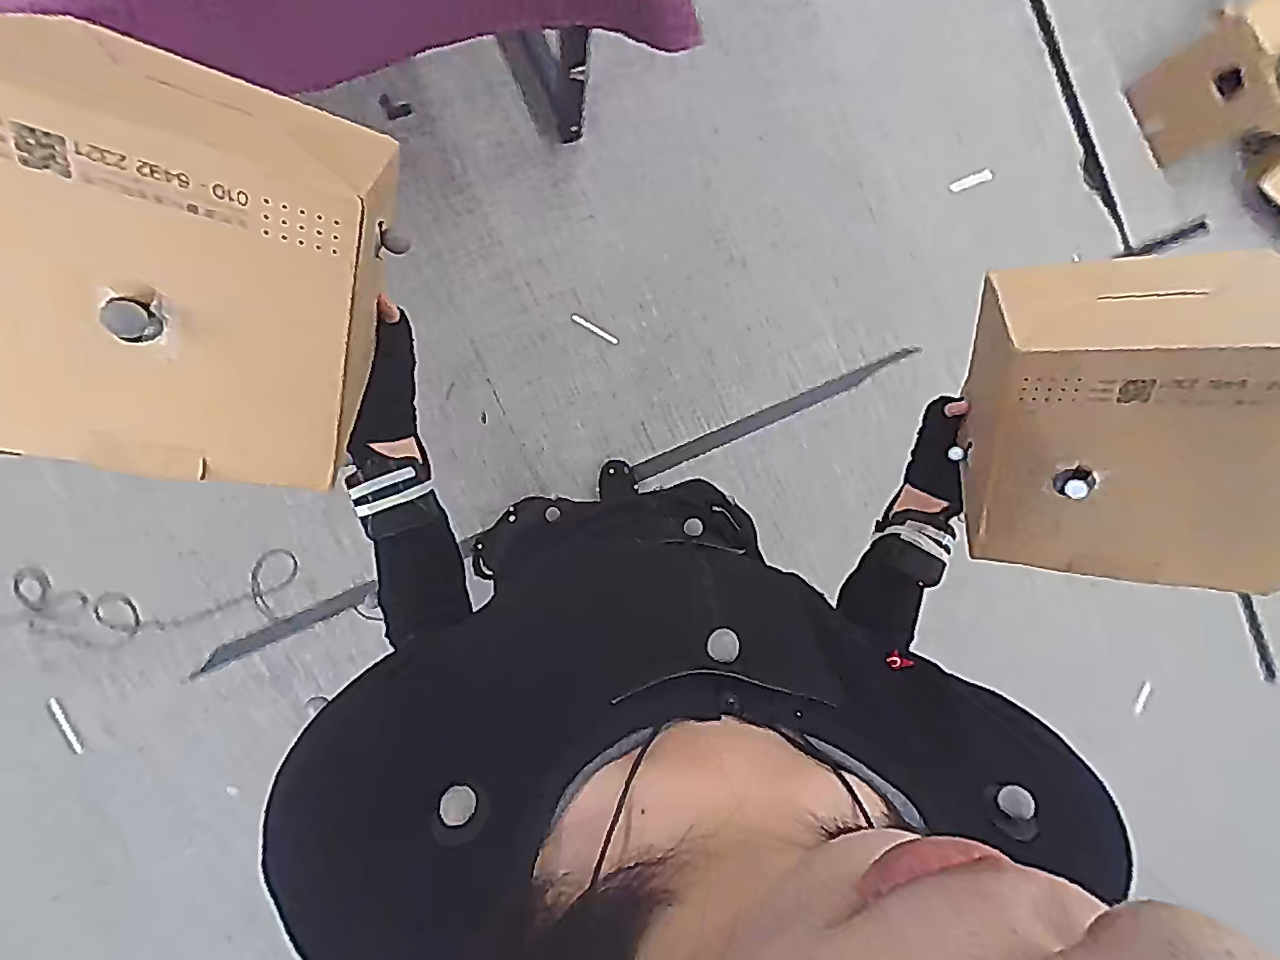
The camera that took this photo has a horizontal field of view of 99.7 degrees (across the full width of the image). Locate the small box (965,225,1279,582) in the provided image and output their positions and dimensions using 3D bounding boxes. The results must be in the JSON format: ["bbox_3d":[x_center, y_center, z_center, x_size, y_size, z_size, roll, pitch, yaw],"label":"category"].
[{"bbox_3d":[0.334,-0.058,0.370,0.168,0.179,0.176,4,127,24],"label":"small box"}]

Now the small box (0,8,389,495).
[{"bbox_3d":[-0.238,-0.117,0.288,0.168,0.179,0.176,9,123,-24],"label":"small box"}]
